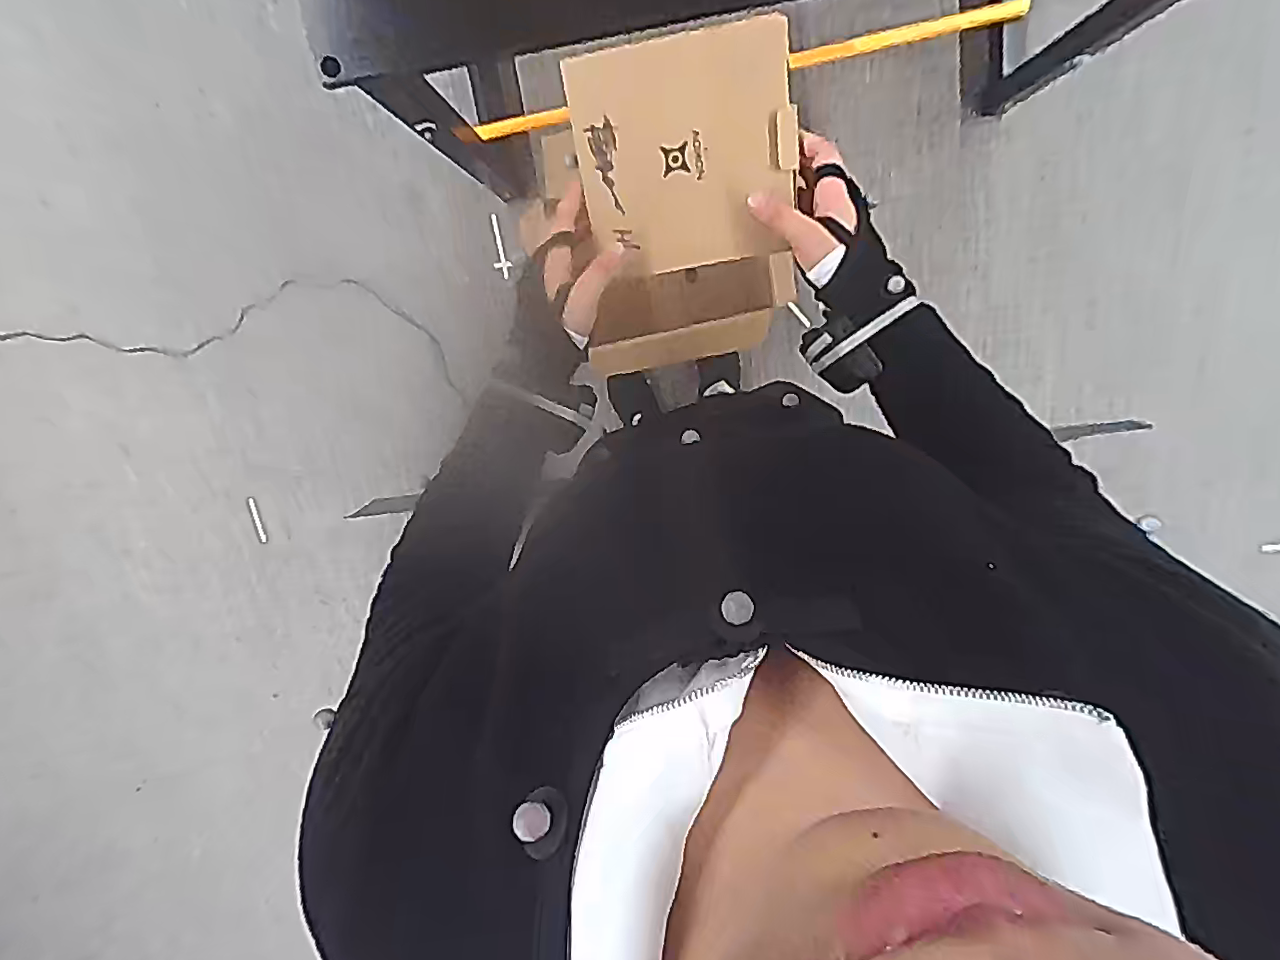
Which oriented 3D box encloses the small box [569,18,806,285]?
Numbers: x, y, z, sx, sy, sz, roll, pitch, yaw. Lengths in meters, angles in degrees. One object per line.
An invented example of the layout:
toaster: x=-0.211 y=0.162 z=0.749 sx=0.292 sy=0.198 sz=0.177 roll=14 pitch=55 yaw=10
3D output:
small box: x=0.042 y=-0.284 z=0.506 sx=0.179 sy=0.176 sz=0.168 roll=-9 pitch=111 yaw=4
